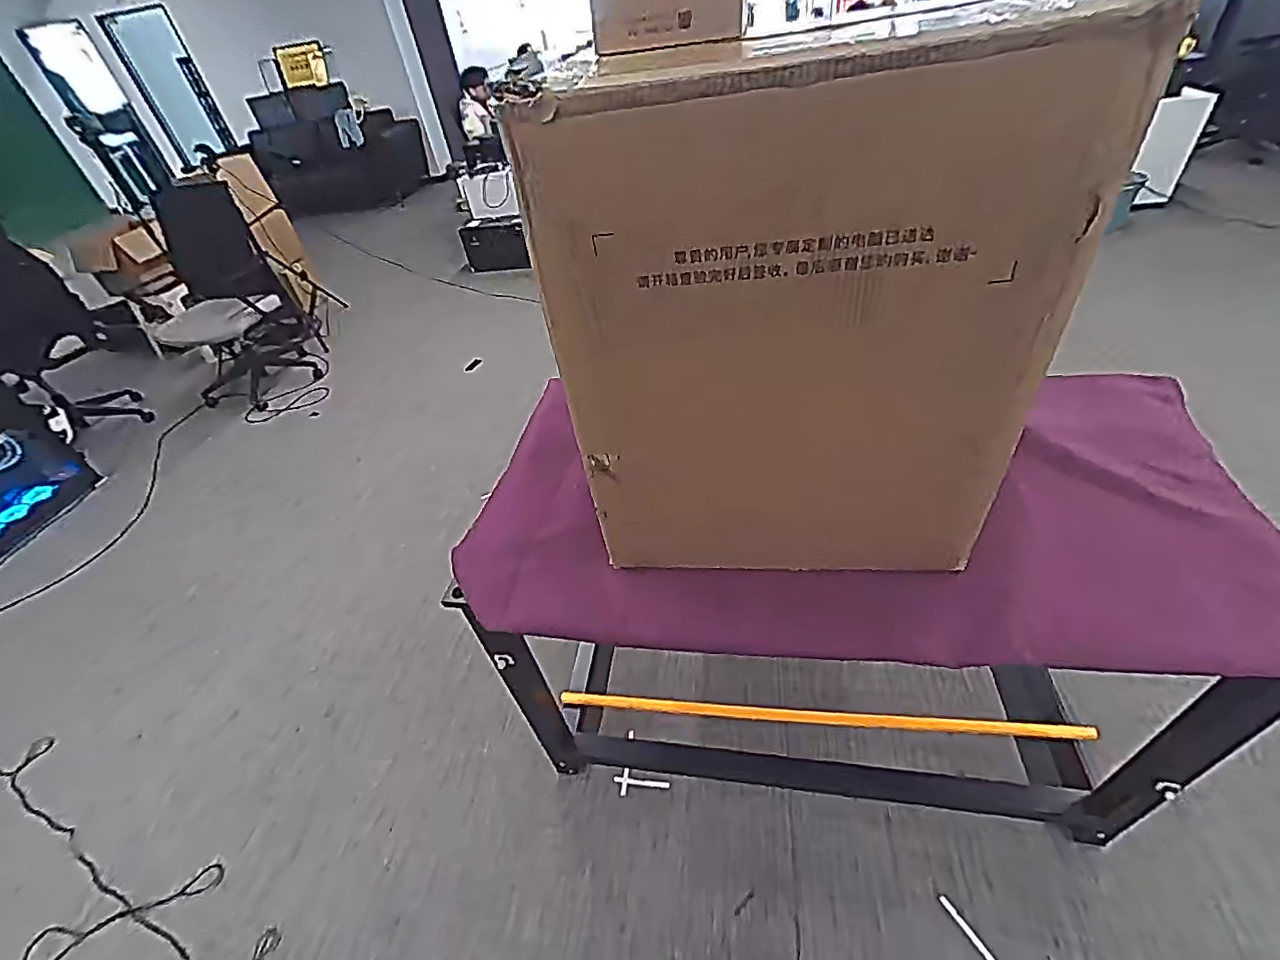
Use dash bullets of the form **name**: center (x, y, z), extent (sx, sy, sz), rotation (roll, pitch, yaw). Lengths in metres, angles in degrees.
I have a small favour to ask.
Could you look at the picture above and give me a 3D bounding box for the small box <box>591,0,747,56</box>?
- **small box**: center (0.035, -0.589, 0.603), extent (0.168, 0.176, 0.179), rotation (2, 42, 11)
